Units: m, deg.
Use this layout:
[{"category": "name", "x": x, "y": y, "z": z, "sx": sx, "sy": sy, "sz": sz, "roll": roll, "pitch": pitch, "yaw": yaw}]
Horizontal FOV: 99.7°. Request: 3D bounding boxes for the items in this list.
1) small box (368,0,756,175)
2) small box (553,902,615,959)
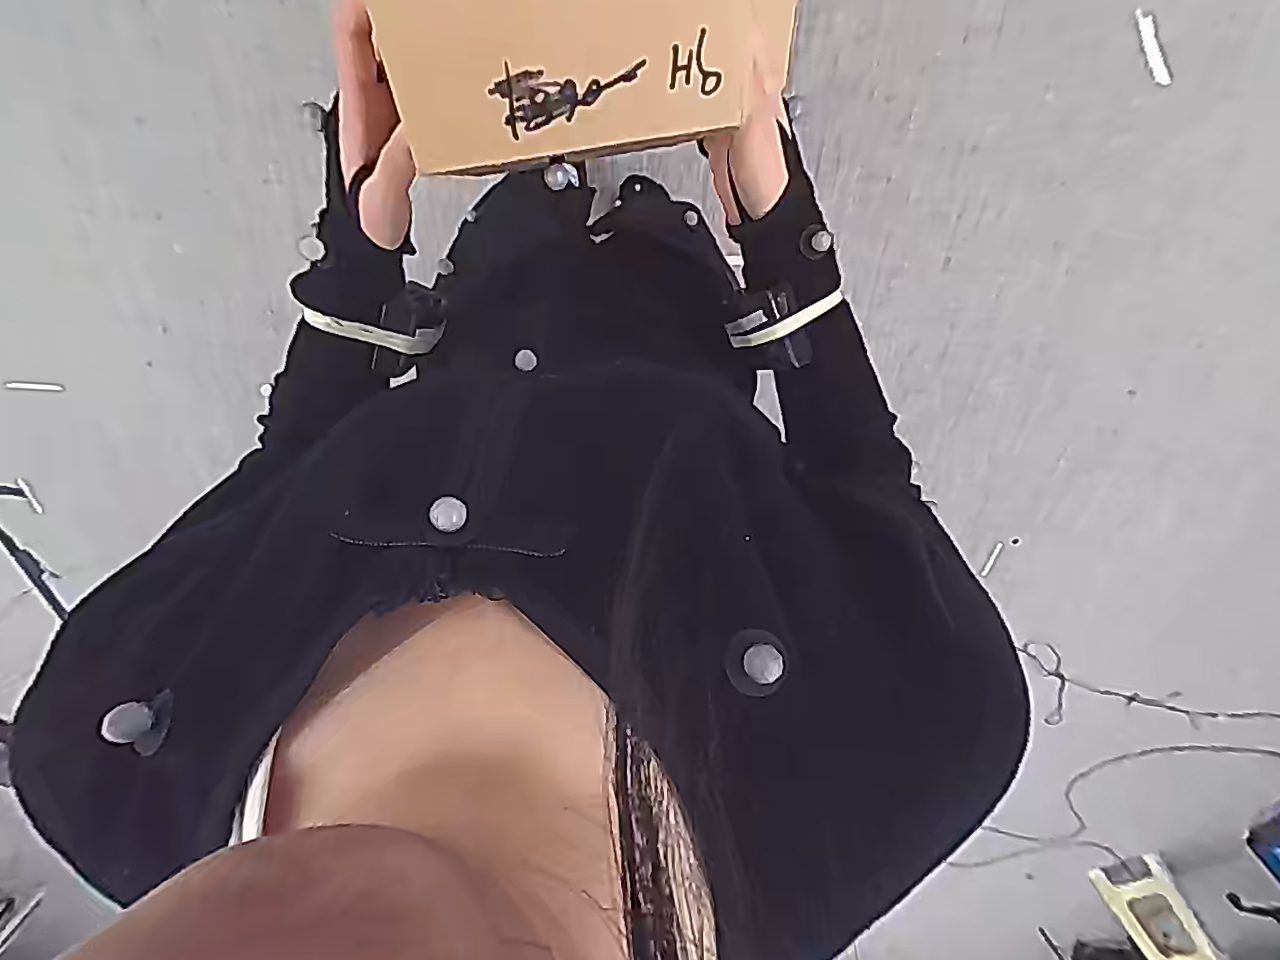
[{"category": "small box", "x": -0.046, "y": -0.269, "z": 0.282, "sx": 0.168, "sy": 0.176, "sz": 0.179, "roll": -10, "pitch": 120, "yaw": -3}, {"category": "small box", "x": -0.161, "y": 1.352, "z": 1.551, "sx": 0.168, "sy": 0.176, "sz": 0.179, "roll": 5, "pitch": 122, "yaw": -1}]
